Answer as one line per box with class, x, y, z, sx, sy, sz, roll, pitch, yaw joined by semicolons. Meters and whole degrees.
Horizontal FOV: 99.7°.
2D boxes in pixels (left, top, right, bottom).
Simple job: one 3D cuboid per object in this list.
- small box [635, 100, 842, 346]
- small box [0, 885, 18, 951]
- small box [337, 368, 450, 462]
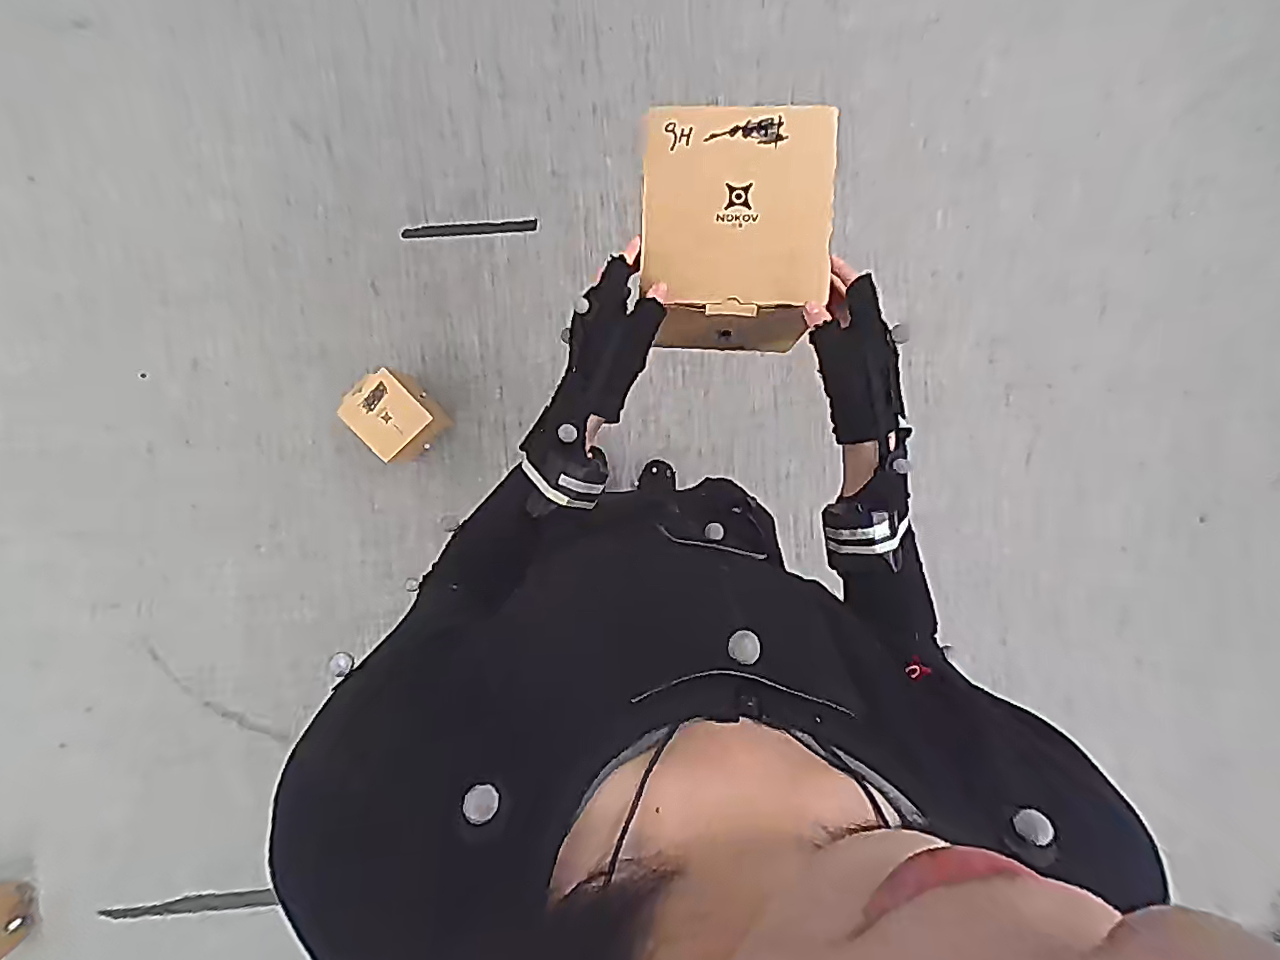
small box;0.091;-0.240;0.546;0.168;0.176;0.179;5;91;5
small box;-1.788;1.189;1.392;0.179;0.176;0.168;-4;94;-4
small box;-0.627;-0.162;1.399;0.168;0.176;0.179;-43;95;0
